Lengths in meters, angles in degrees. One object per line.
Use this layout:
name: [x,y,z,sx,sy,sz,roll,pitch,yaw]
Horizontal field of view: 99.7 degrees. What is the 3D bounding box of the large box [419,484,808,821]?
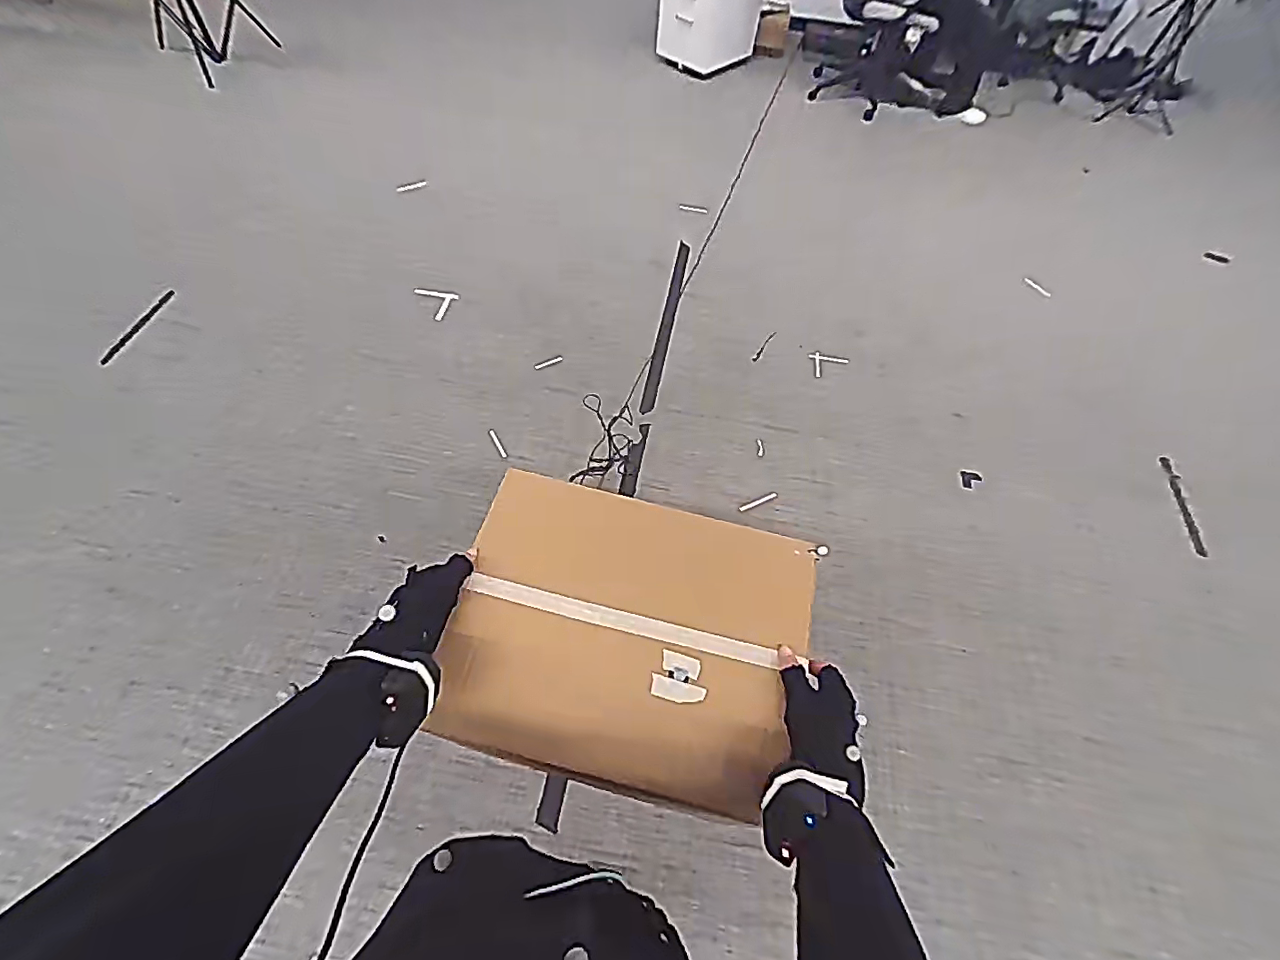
large box: [-0.022,0.250,0.757,0.408,0.320,0.320,14,60,3]
